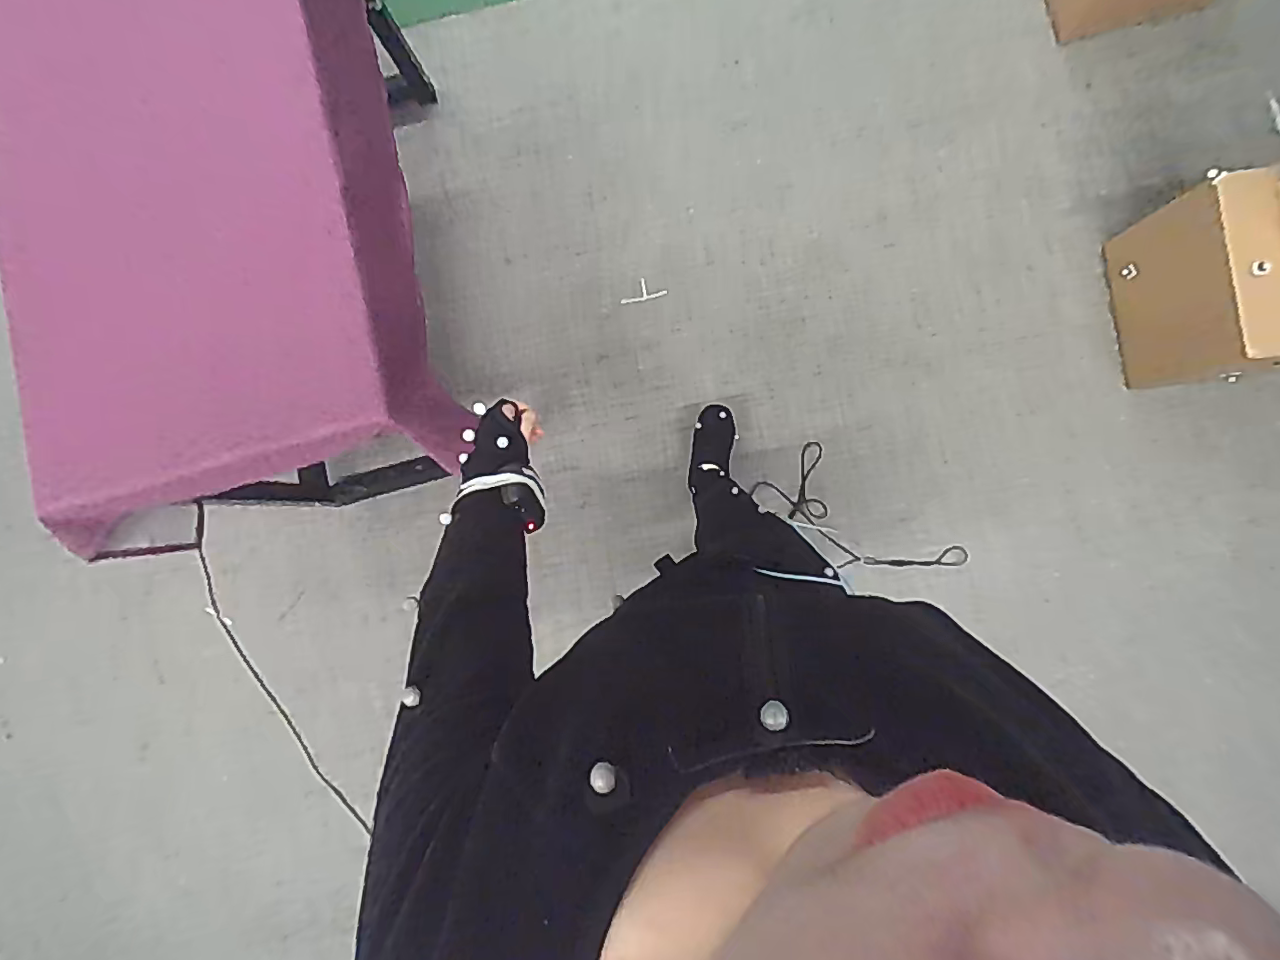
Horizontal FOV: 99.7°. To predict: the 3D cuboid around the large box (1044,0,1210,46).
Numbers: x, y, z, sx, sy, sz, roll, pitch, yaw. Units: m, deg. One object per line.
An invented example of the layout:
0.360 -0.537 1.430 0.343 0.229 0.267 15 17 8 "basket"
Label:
1.300 -1.396 1.352 0.408 0.320 0.320 -12 86 2 "large box"
